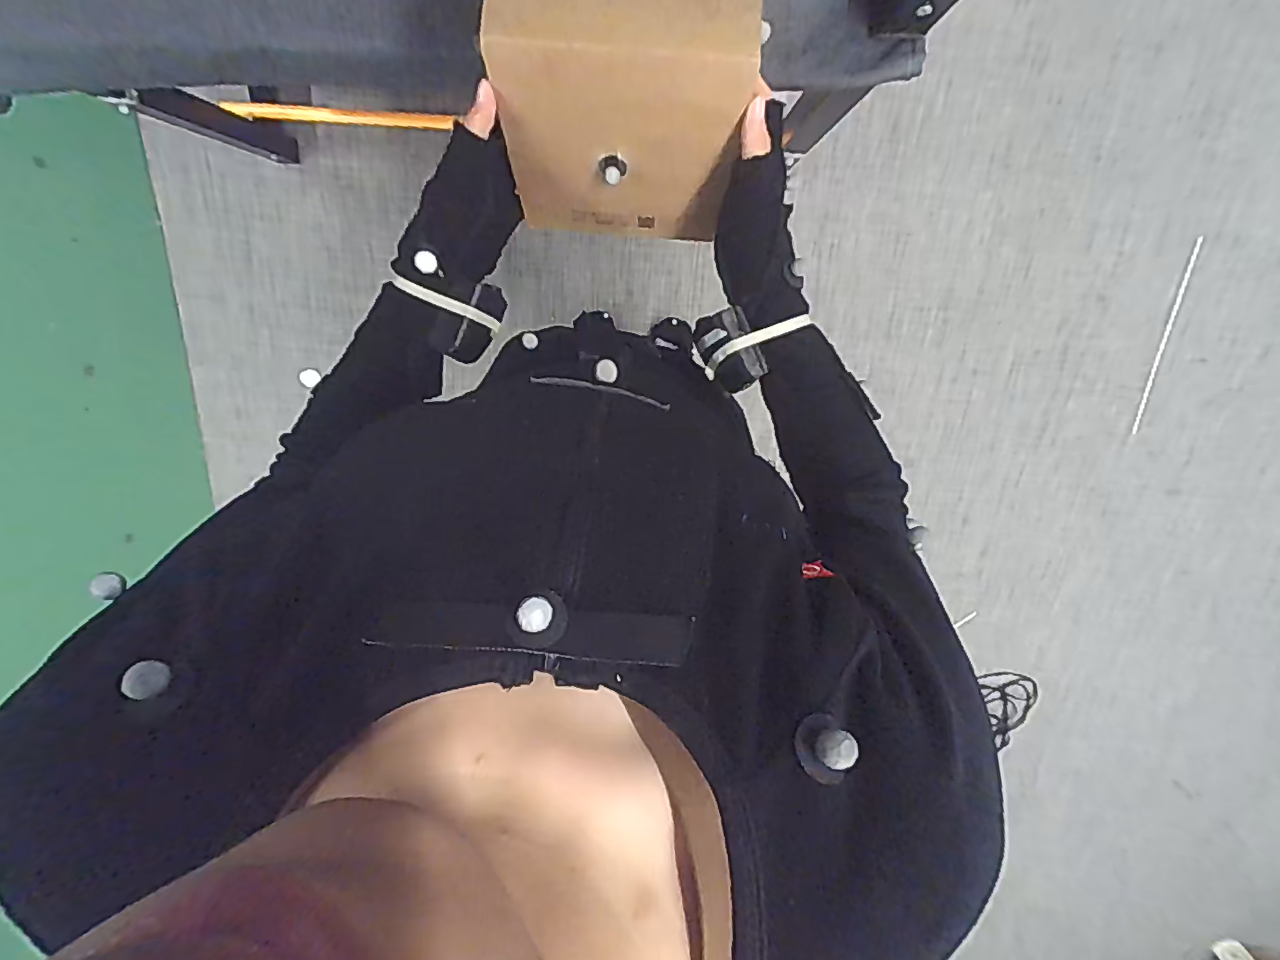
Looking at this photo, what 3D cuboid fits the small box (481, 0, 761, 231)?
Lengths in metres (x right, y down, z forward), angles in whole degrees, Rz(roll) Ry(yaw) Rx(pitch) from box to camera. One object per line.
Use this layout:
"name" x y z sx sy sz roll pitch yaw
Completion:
"small box" -0.007 -0.316 0.407 0.168 0.176 0.179 4 77 -1
